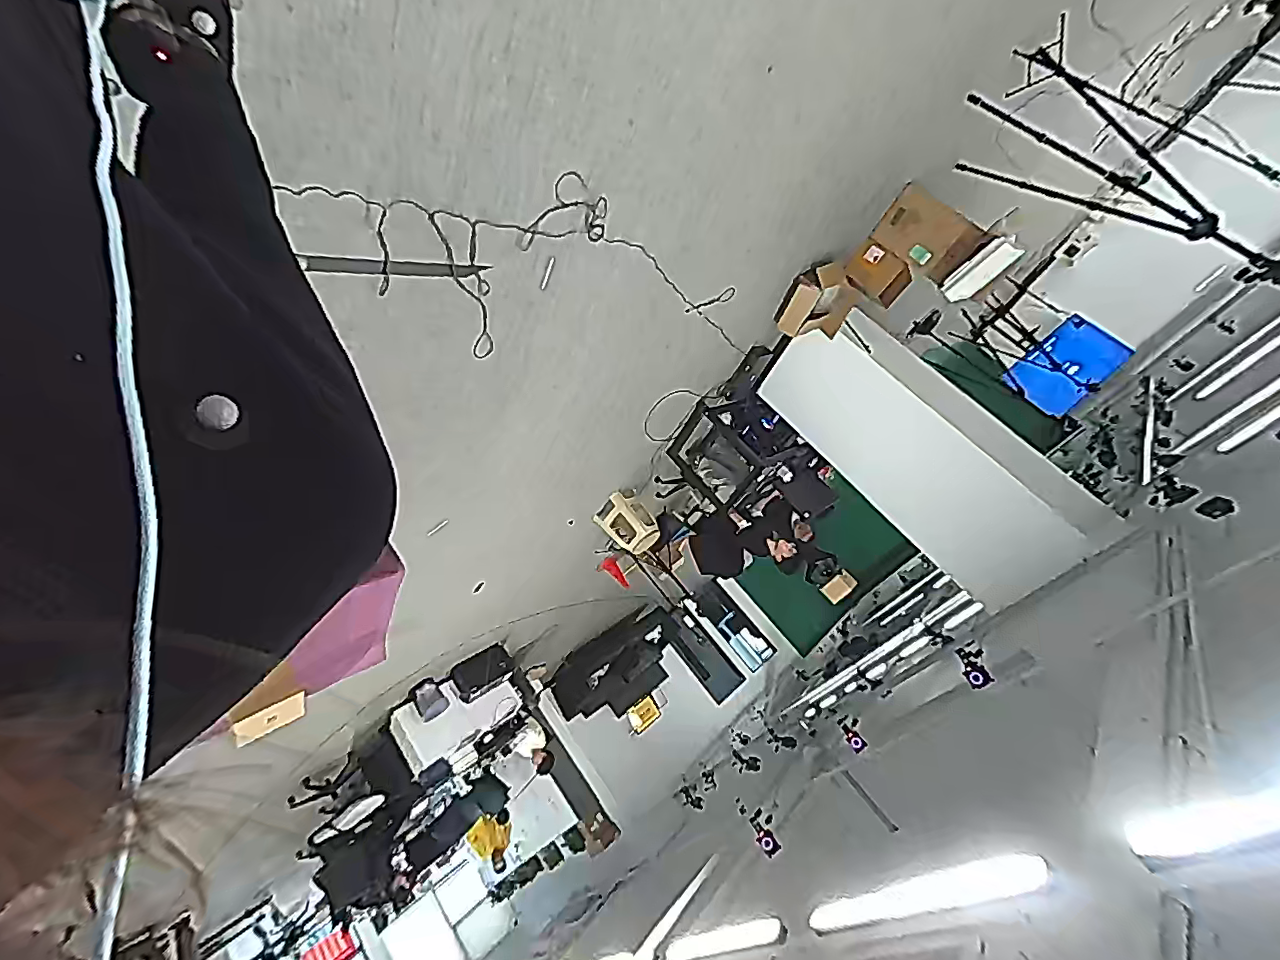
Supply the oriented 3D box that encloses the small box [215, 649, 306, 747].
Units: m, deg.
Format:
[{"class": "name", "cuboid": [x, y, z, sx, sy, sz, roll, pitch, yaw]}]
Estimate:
[{"class": "small box", "cuboid": [-1.060, 0.602, 1.514, 0.168, 0.176, 0.179, -21, 152, -43]}]
